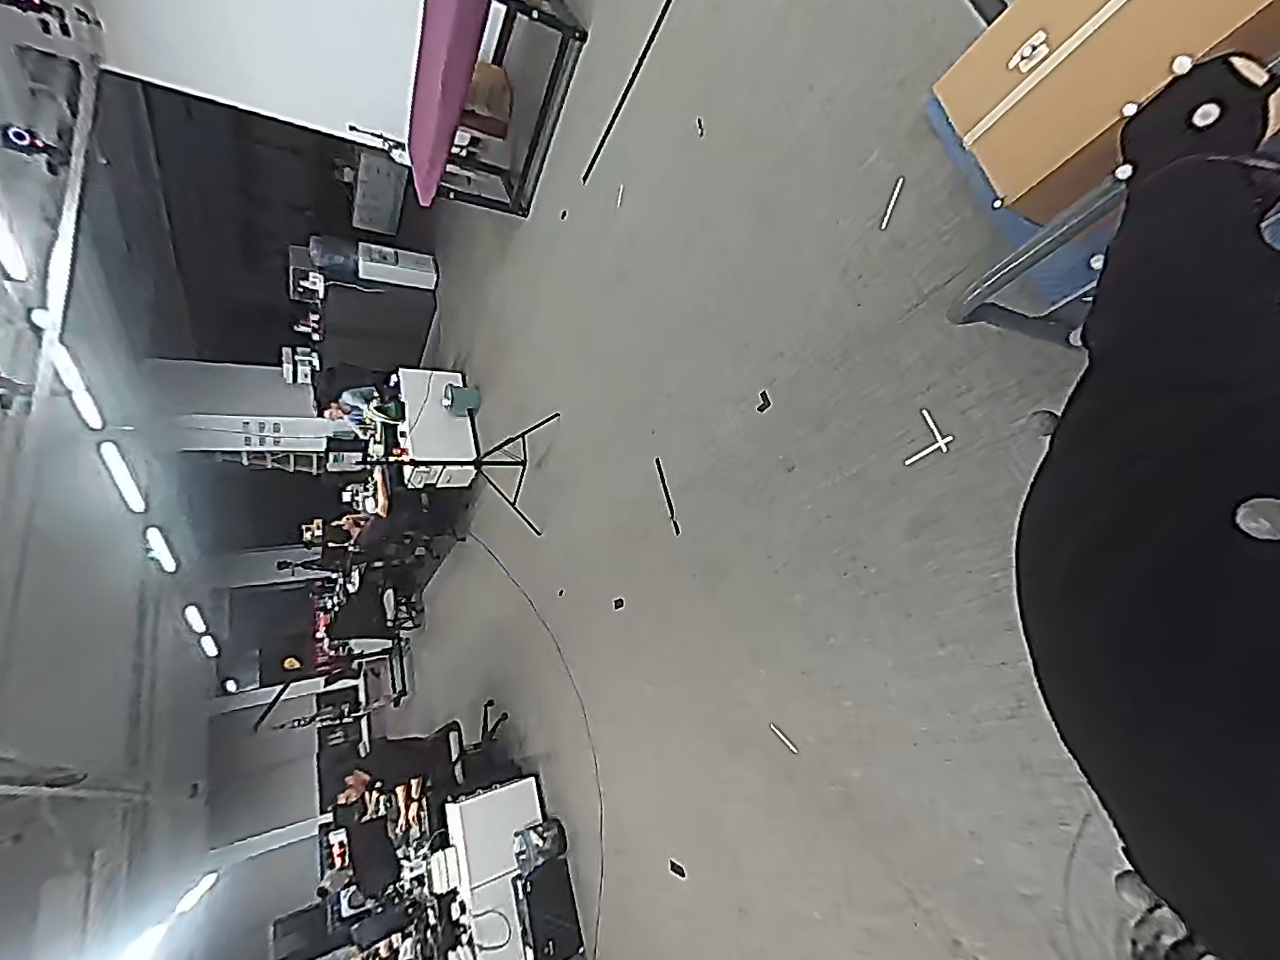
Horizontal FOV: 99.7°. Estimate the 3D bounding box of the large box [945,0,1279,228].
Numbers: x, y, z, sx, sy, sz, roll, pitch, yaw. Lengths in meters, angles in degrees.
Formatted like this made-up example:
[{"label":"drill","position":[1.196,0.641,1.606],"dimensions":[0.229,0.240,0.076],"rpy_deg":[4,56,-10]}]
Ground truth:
[{"label":"large box","position":[0.844,-0.721,0.921],"dimensions":[0.408,0.320,0.320],"rpy_deg":[-41,58,52]}]
